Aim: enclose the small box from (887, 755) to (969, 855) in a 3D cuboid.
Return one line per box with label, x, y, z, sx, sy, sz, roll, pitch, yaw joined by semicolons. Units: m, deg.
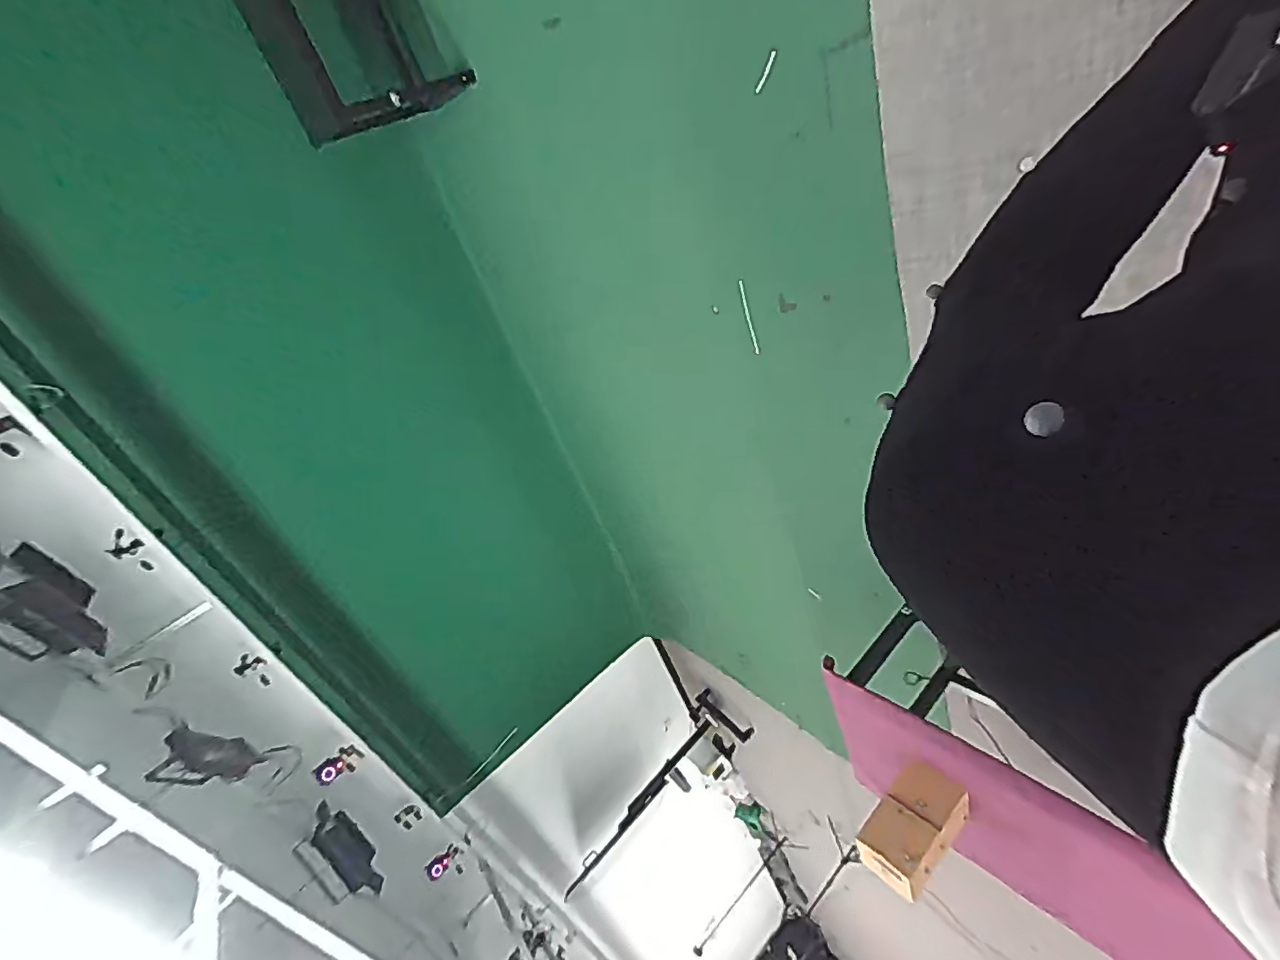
small box;0.906;1.011;1.693;0.179;0.176;0.168;21;141;50
